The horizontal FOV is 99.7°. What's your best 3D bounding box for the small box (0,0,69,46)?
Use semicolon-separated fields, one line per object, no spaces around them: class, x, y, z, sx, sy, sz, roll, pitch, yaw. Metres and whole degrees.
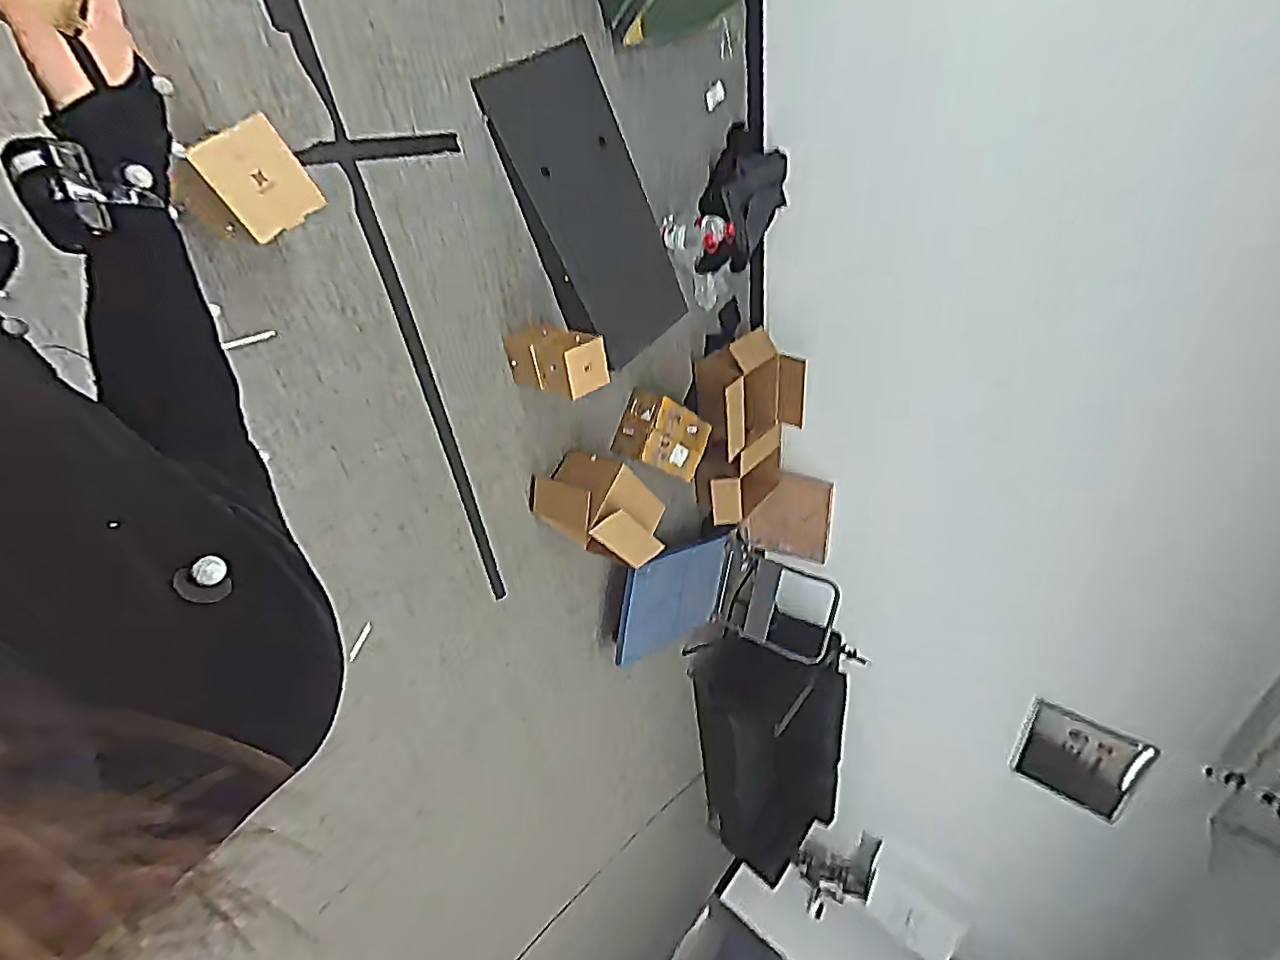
small box;-0.503;-0.449;0.369;0.168;0.176;0.179;9;111;-57
